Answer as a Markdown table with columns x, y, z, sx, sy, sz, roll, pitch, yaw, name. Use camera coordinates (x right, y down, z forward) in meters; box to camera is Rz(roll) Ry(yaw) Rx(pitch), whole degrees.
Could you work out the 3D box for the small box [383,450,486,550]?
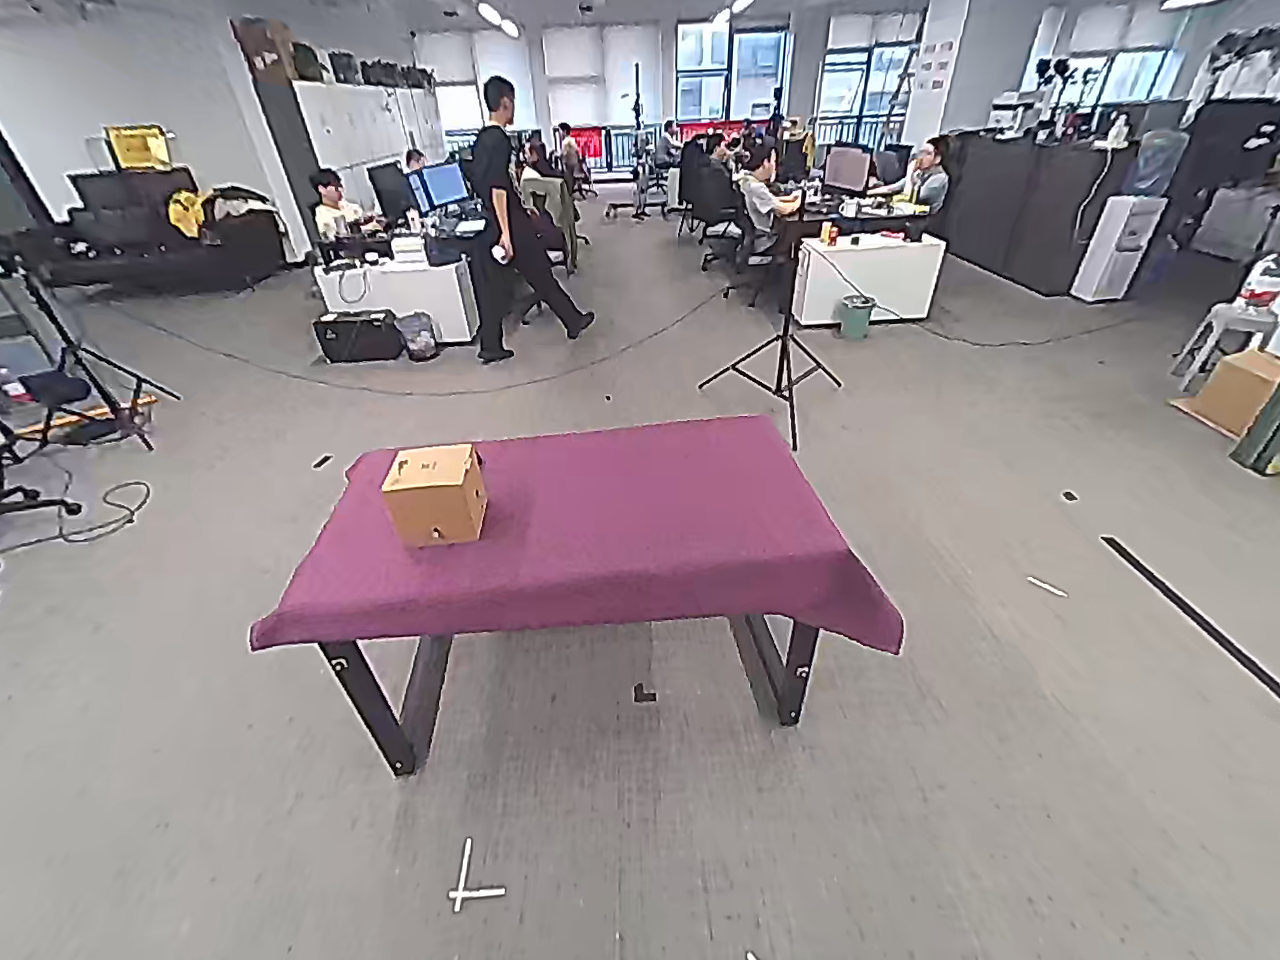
| x | y | z | sx | sy | sz | roll | pitch | yaw | name |
| --- | --- | --- | --- | --- | --- | --- | --- | --- | --- |
| -0.470 | 0.048 | 1.271 | 0.179 | 0.176 | 0.168 | -5 | 34 | -4 | small box |
